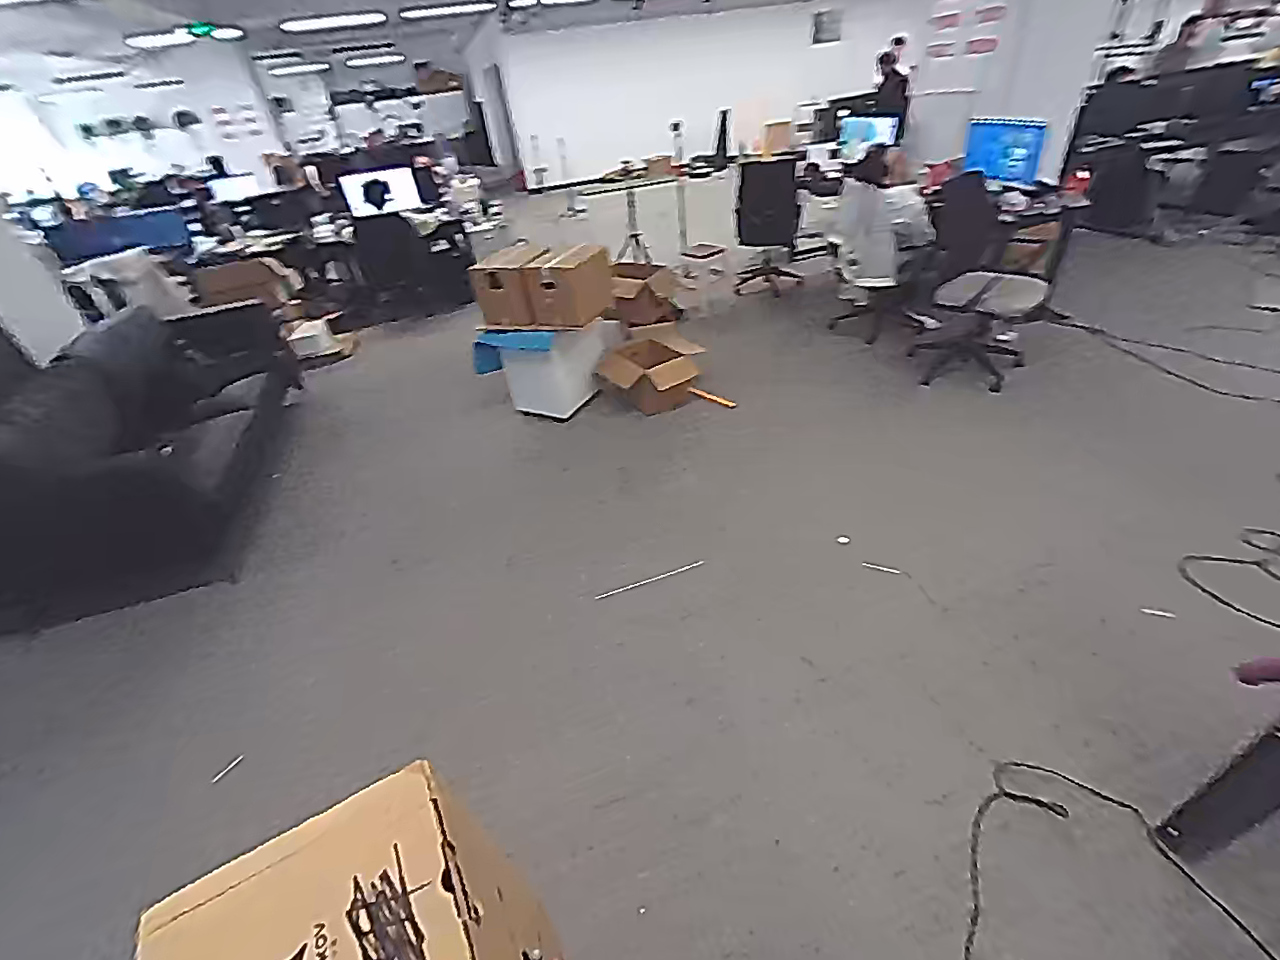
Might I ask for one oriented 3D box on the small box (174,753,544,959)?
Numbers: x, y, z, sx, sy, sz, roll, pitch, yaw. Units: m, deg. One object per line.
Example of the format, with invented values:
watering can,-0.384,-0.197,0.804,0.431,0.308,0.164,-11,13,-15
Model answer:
small box,-0.166,0.328,0.362,0.179,0.176,0.168,-22,45,-18
